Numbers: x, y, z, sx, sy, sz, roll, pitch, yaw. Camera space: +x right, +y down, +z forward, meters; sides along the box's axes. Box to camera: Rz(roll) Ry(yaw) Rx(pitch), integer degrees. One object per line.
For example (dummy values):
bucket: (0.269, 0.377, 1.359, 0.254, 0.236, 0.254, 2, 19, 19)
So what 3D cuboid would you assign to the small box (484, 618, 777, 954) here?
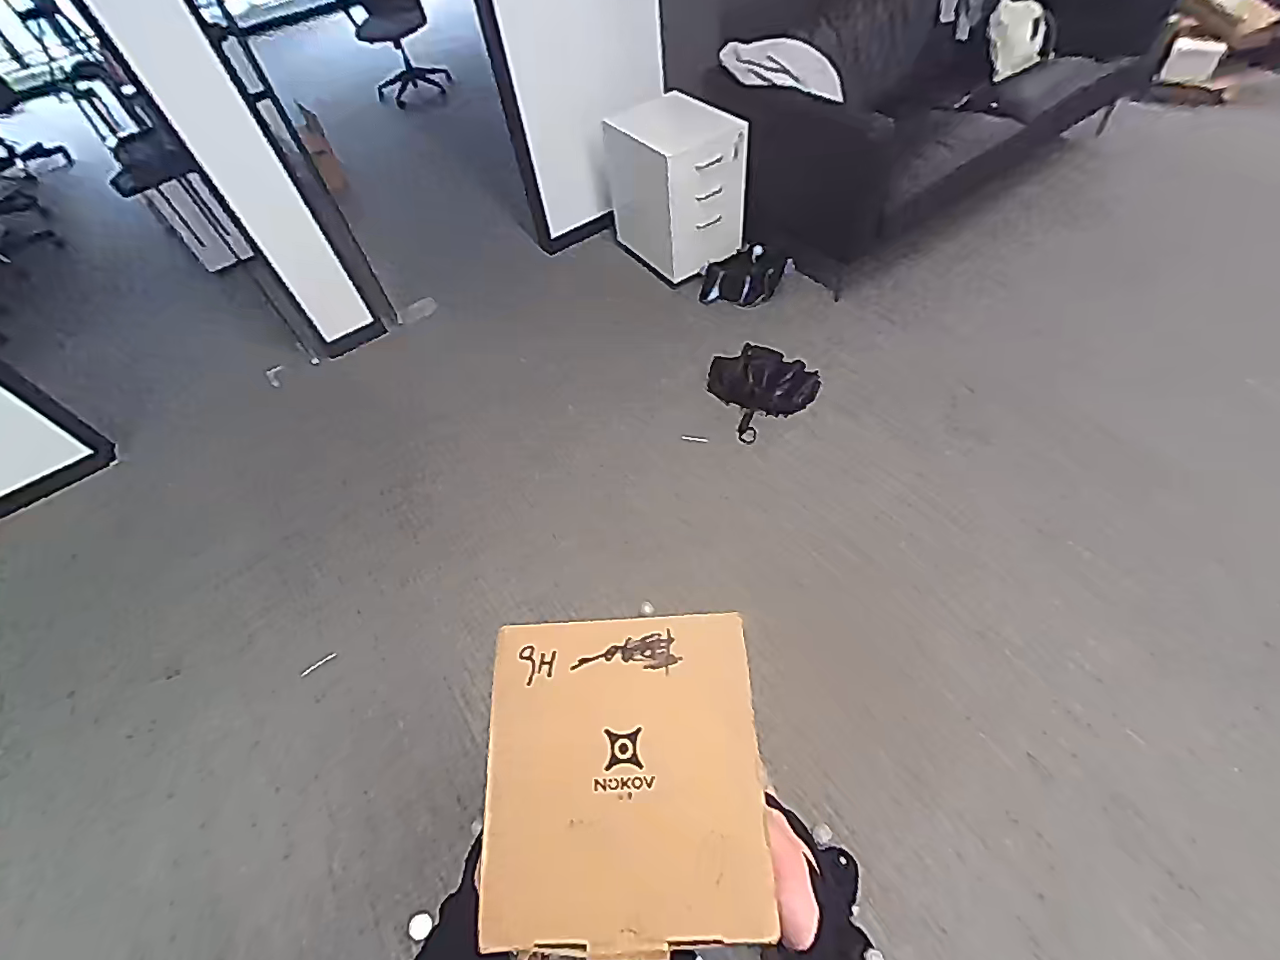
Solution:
small box: (-0.003, 0.206, 0.399, 0.168, 0.176, 0.179, -4, 65, 2)
